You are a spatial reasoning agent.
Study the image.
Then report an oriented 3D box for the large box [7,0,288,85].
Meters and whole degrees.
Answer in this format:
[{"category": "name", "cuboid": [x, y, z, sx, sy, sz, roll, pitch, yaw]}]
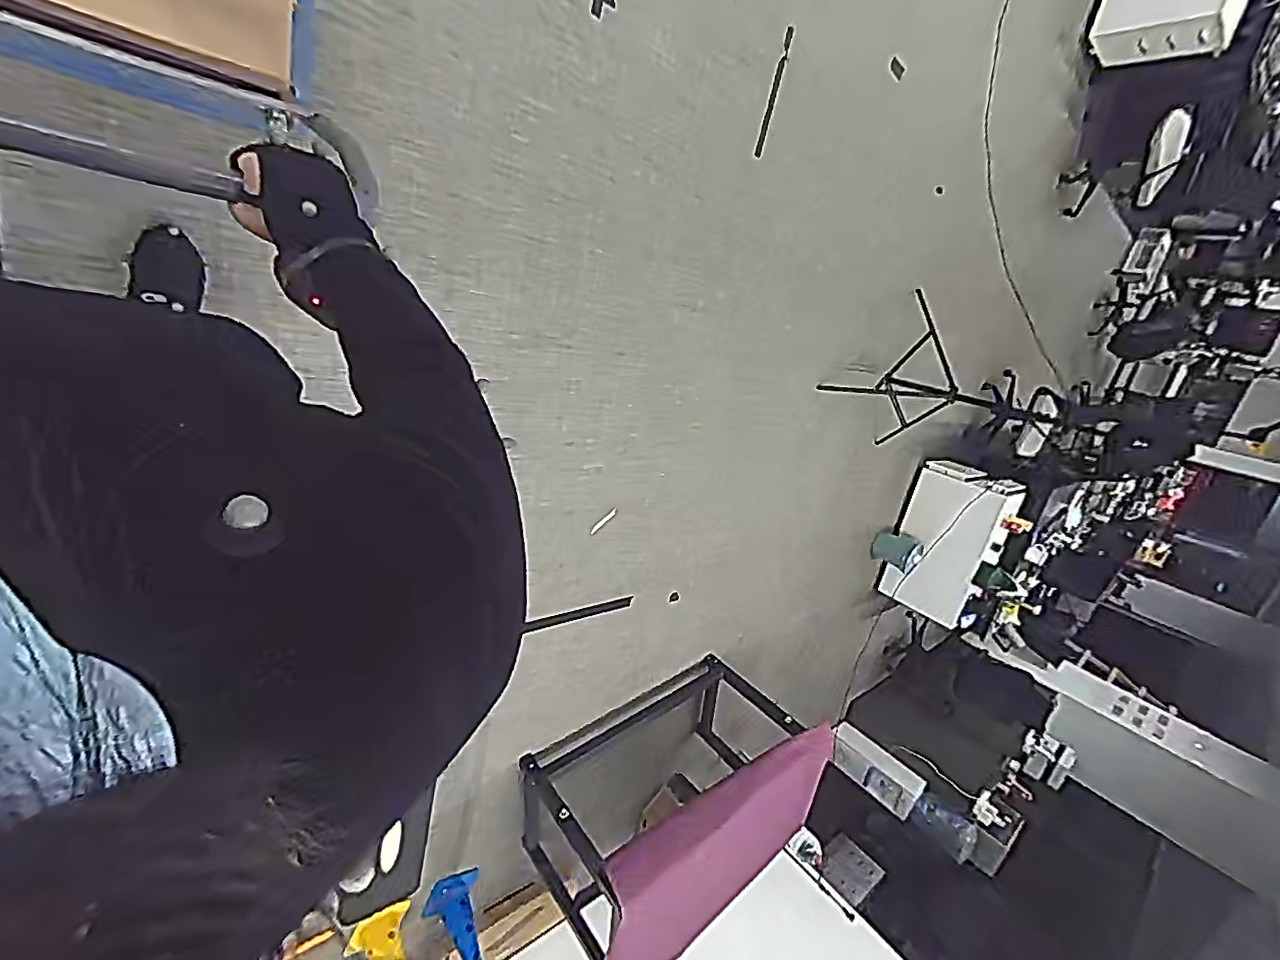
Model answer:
[{"category": "large box", "cuboid": [-0.703, -0.752, 0.673, 0.408, 0.320, 0.320, -5, 124, -42]}]
